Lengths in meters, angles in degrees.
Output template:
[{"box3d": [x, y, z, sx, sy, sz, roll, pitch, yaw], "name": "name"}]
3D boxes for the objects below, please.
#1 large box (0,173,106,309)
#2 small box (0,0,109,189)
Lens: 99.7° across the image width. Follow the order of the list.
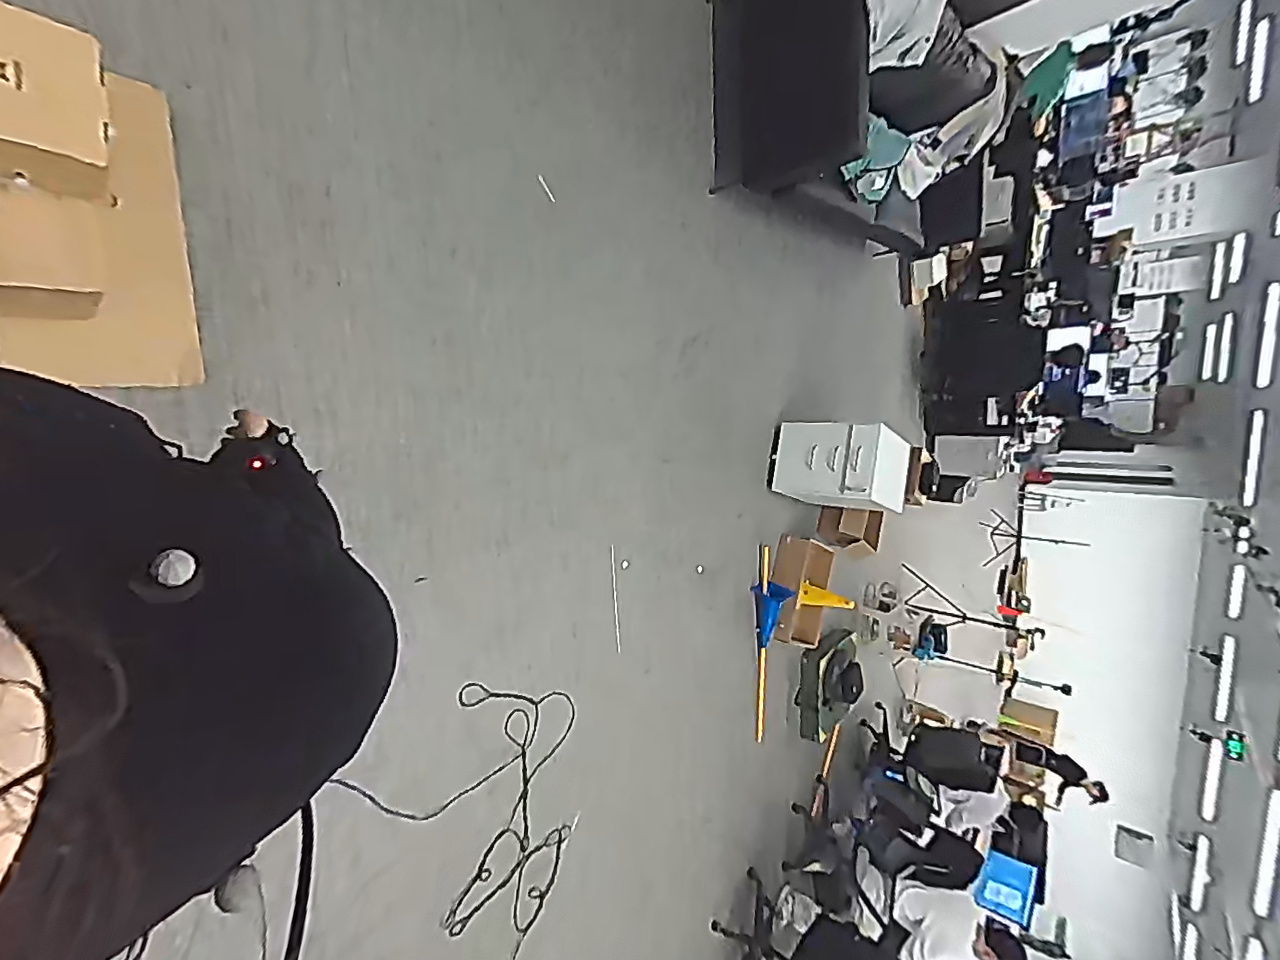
[{"box3d": [-1.108, -0.439, 0.791, 0.408, 0.320, 0.320, -14, 105, -48], "name": "large box"}, {"box3d": [-0.838, -0.510, 0.716, 0.179, 0.176, 0.168, -5, 98, -47], "name": "small box"}]
